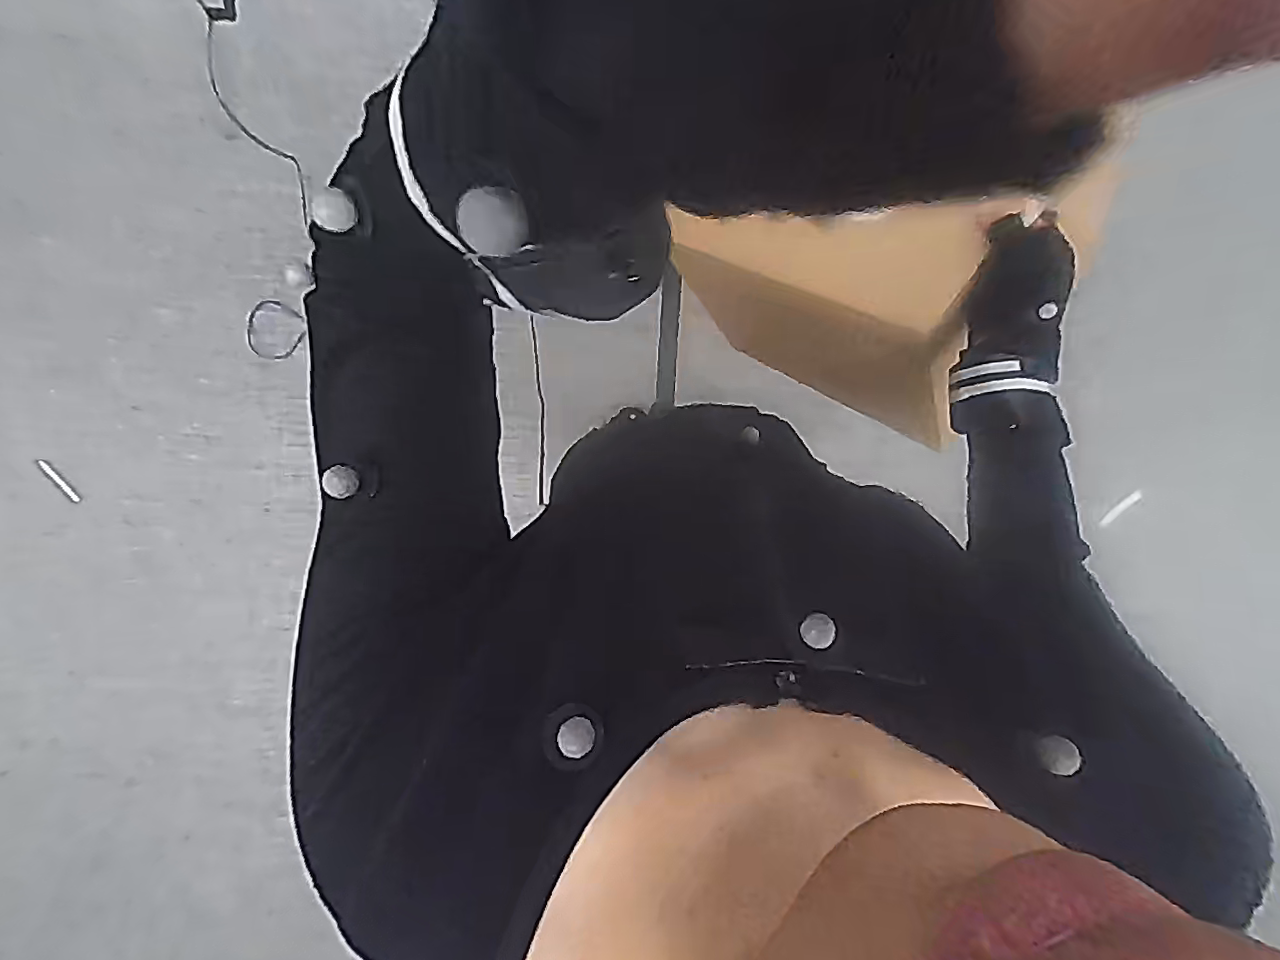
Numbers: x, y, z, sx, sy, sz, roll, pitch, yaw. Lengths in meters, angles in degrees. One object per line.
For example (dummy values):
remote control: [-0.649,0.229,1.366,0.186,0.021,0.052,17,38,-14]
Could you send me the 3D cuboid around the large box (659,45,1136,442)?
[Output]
large box: [0.310,-0.314,0.735,0.408,0.320,0.320,40,95,36]
